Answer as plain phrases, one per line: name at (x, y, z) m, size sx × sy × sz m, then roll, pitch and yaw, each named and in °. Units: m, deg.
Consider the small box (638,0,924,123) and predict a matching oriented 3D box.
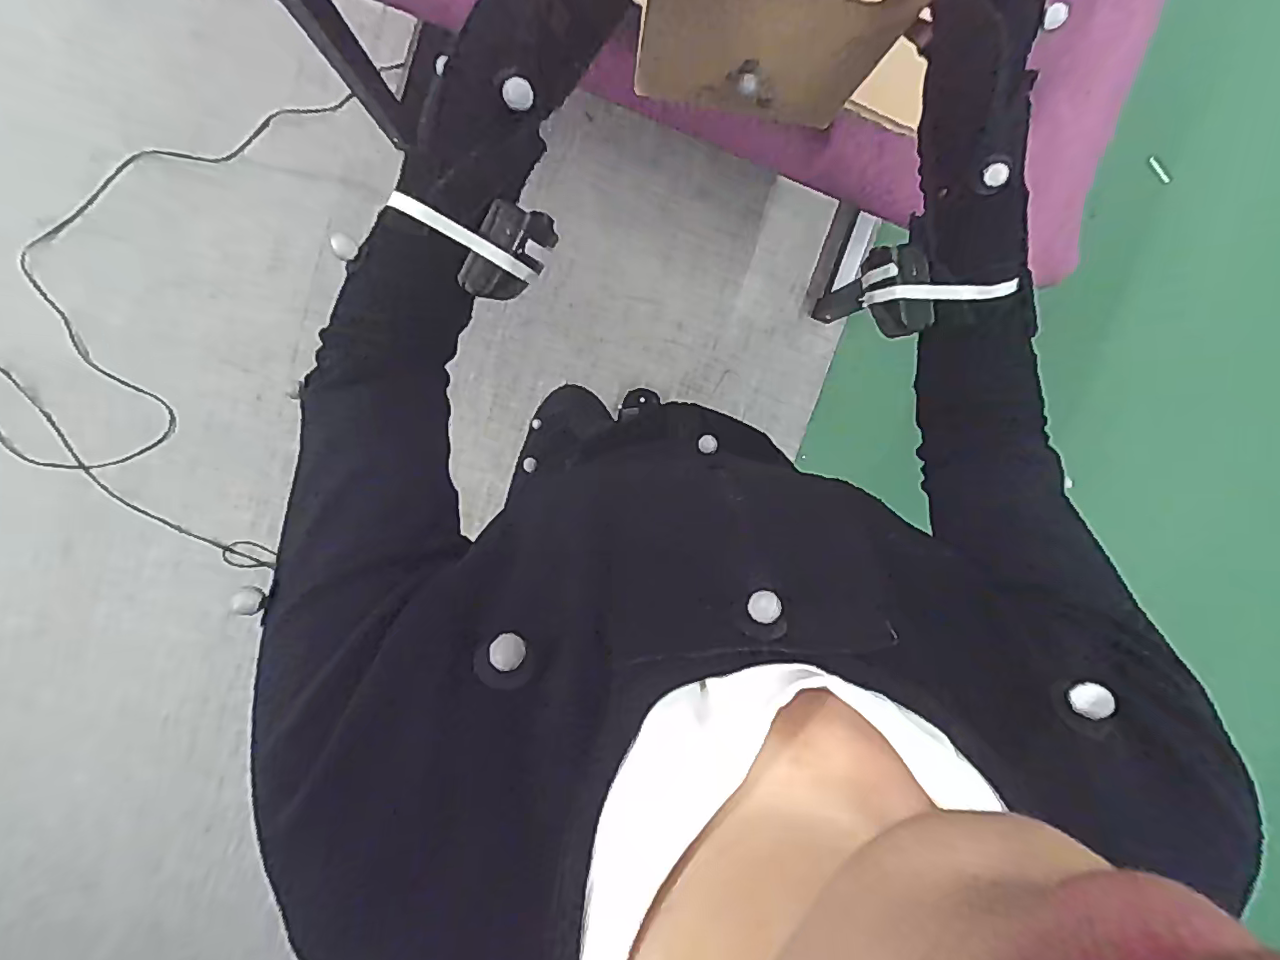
small box at (0.094, -0.386, 0.361) m, size 0.168 × 0.176 × 0.179 m, roll 7°, pitch 97°, yaw -6°
